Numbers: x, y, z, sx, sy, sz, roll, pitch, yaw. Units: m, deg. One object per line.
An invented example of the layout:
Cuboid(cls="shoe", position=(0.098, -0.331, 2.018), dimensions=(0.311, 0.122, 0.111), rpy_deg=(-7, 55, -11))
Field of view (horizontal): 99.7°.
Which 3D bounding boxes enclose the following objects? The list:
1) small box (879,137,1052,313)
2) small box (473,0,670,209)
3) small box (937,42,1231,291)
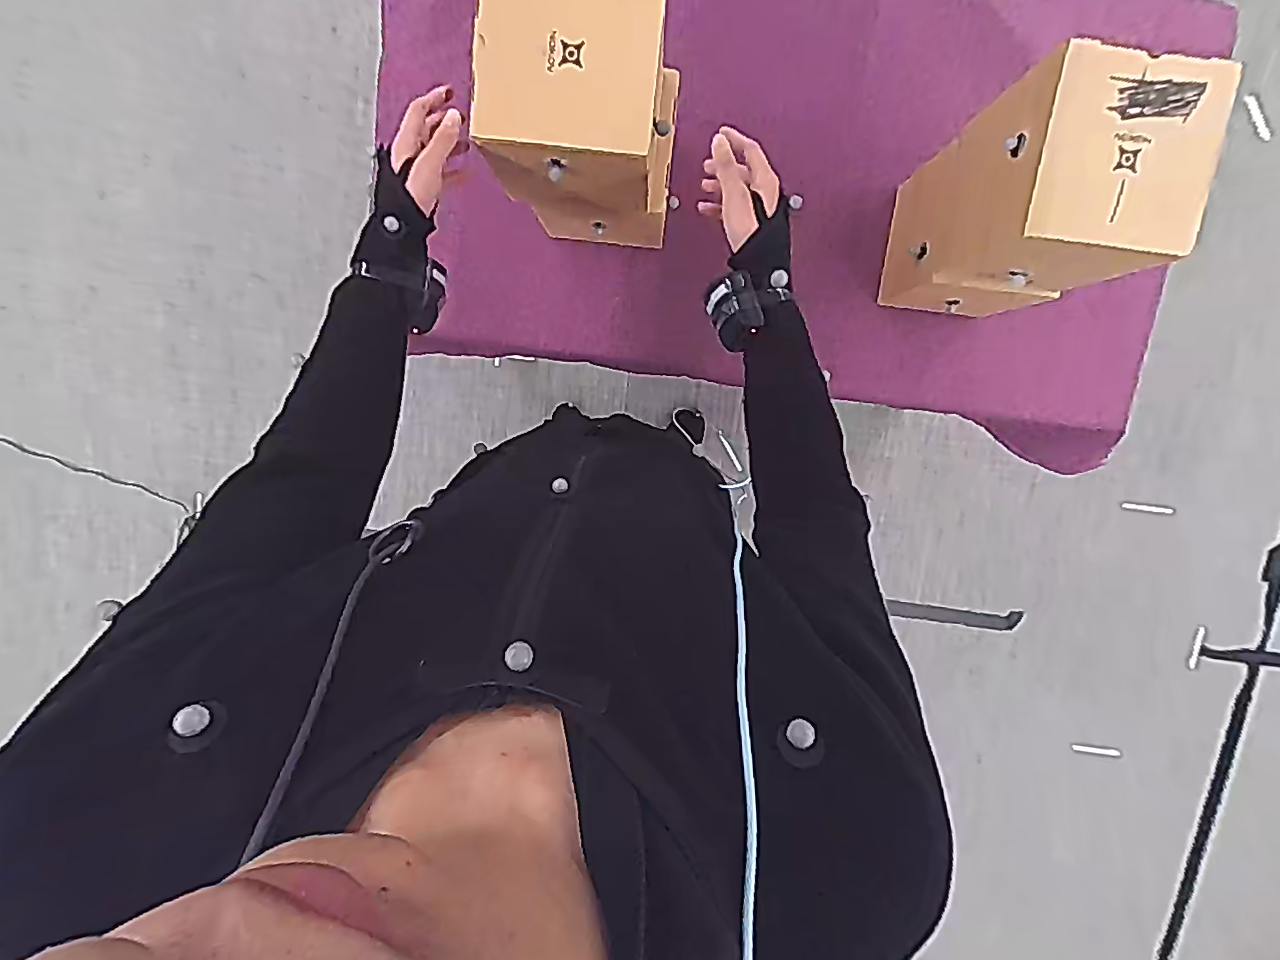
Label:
Cuboid(cls="small box", position=(0.459, -0.340, 0.758), dimensions=(0.168, 0.176, 0.179), rpy_deg=(7, 99, -1))
Cuboid(cls="small box", position=(-0.064, -0.412, 0.586), dimensions=(0.179, 0.176, 0.168), rpy_deg=(7, 99, 1))
Cuboid(cls="small box", position=(0.460, -0.323, 0.595), dimensions=(0.168, 0.176, 0.179), rpy_deg=(8, 99, 0))
